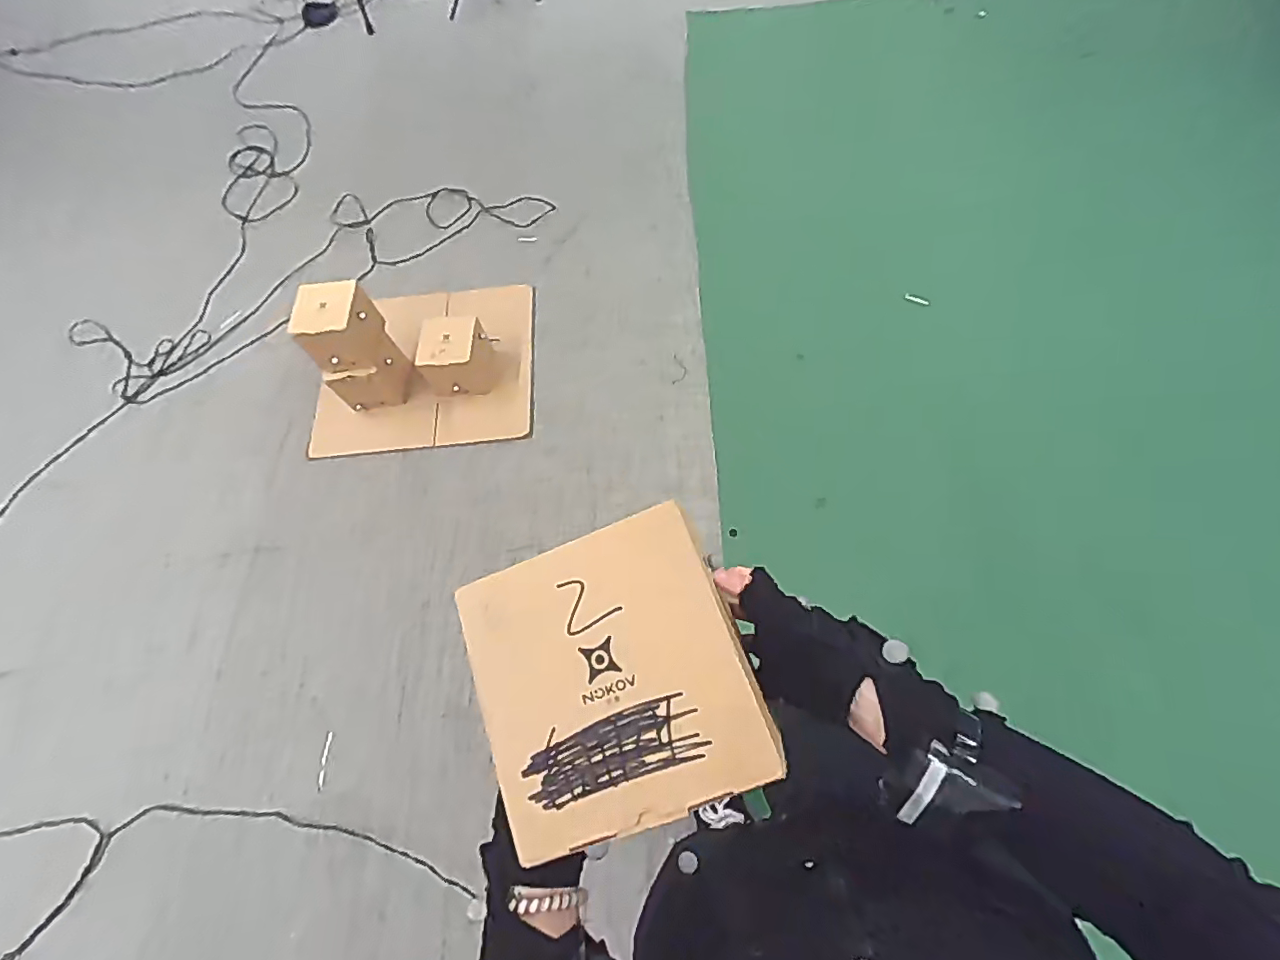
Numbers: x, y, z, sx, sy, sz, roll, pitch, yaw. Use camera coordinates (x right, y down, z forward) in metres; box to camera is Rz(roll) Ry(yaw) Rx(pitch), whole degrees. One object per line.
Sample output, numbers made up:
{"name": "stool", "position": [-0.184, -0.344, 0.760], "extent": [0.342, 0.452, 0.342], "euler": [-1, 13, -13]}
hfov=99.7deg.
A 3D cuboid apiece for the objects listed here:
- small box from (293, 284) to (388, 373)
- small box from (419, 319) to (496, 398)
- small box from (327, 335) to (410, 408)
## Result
{"name": "small box", "position": [-0.841, -0.429, 1.540], "extent": [0.168, 0.176, 0.179], "euler": [-5, 65, 2]}
{"name": "small box", "position": [-0.555, -0.374, 1.672], "extent": [0.168, 0.176, 0.179], "euler": [-2, 66, 5]}
{"name": "small box", "position": [-0.832, -0.336, 1.676], "extent": [0.168, 0.176, 0.179], "euler": [-7, 65, 2]}
